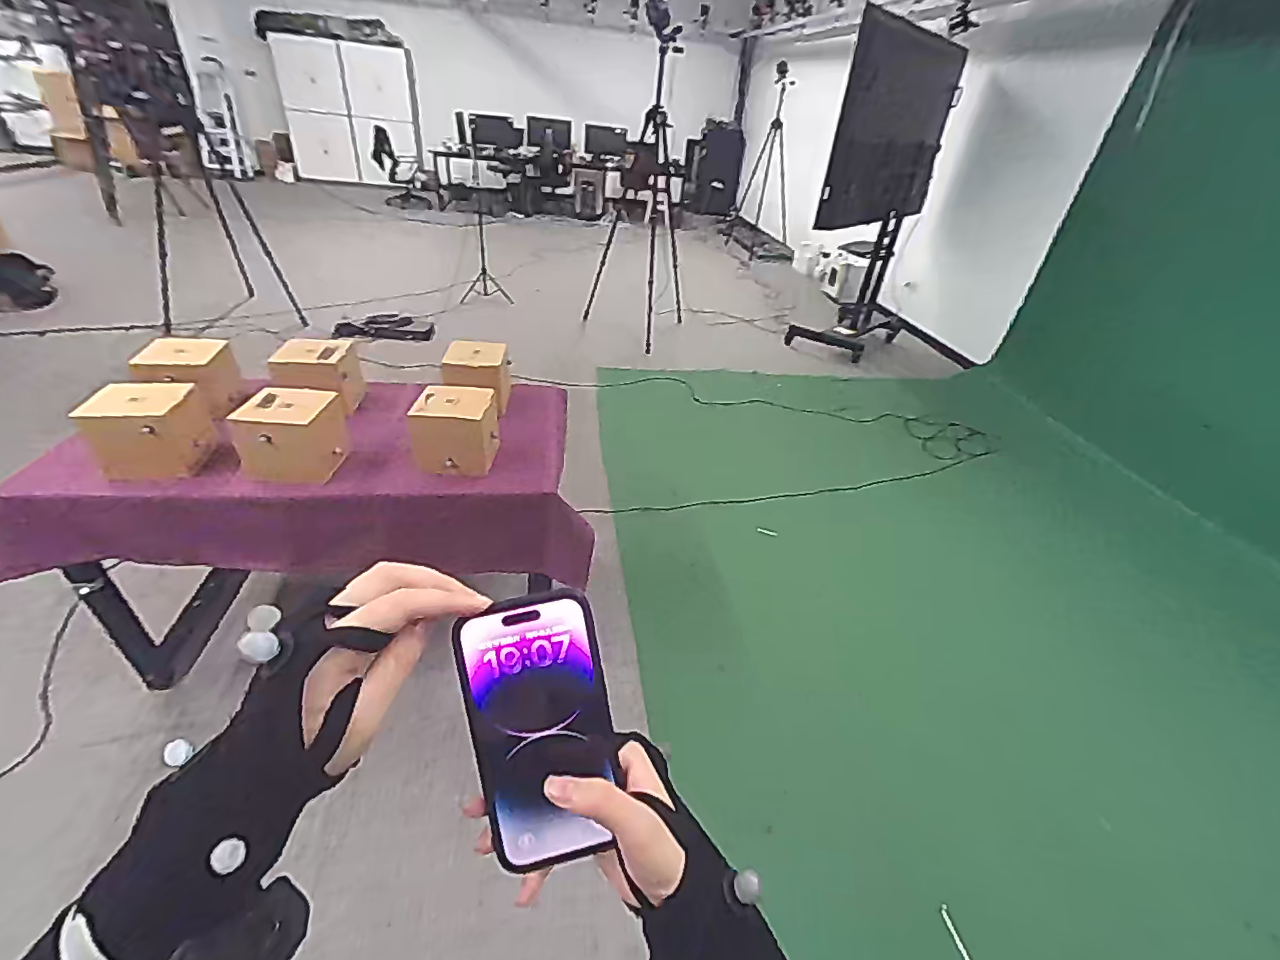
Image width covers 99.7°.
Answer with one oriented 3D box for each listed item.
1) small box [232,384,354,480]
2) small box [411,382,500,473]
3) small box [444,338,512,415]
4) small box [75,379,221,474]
[{"bbox_3d":[-0.823,-0.115,1.302,0.179,0.176,0.168,4,35,-4],"label":"small box"},{"bbox_3d":[-0.462,-0.132,1.386,0.179,0.176,0.168,5,35,-3],"label":"small box"},{"bbox_3d":[-0.484,-0.315,1.640,0.168,0.176,0.179,2,36,-6],"label":"small box"},{"bbox_3d":[-1.134,-0.124,1.265,0.179,0.176,0.168,-2,36,-14],"label":"small box"}]
